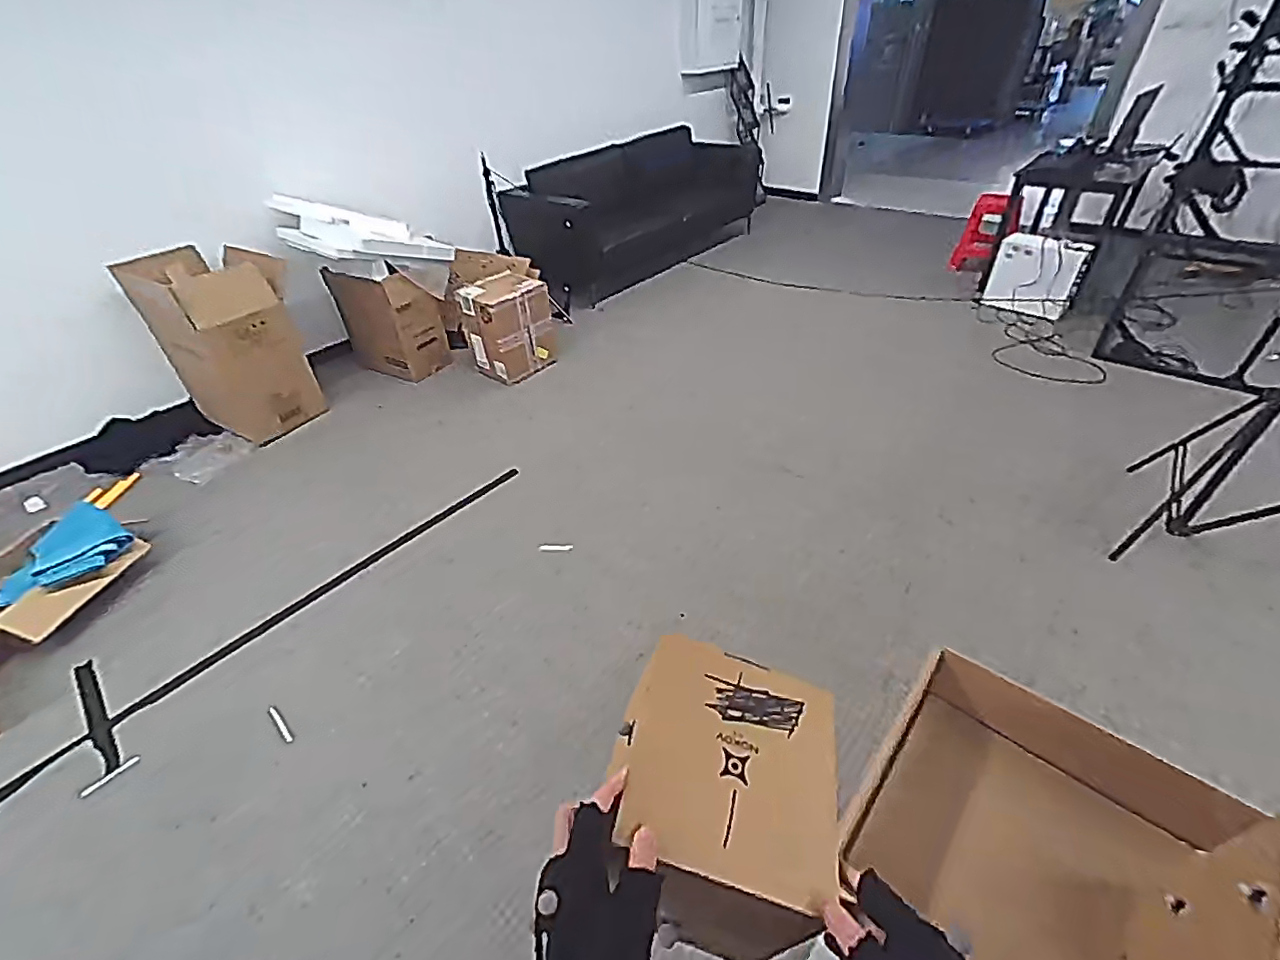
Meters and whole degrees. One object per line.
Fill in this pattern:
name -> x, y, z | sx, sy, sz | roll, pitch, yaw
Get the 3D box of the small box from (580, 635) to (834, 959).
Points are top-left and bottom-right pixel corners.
small box -> 0.055, 0.278, 0.482 | 0.168, 0.176, 0.179 | 18, 39, 2

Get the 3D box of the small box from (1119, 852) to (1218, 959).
small box -> 0.665, 0.556, 0.581 | 0.179, 0.176, 0.168 | 26, 53, 34

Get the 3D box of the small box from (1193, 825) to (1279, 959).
small box -> 0.634, 0.439, 0.471 | 0.168, 0.176, 0.179 | 24, 53, 36
